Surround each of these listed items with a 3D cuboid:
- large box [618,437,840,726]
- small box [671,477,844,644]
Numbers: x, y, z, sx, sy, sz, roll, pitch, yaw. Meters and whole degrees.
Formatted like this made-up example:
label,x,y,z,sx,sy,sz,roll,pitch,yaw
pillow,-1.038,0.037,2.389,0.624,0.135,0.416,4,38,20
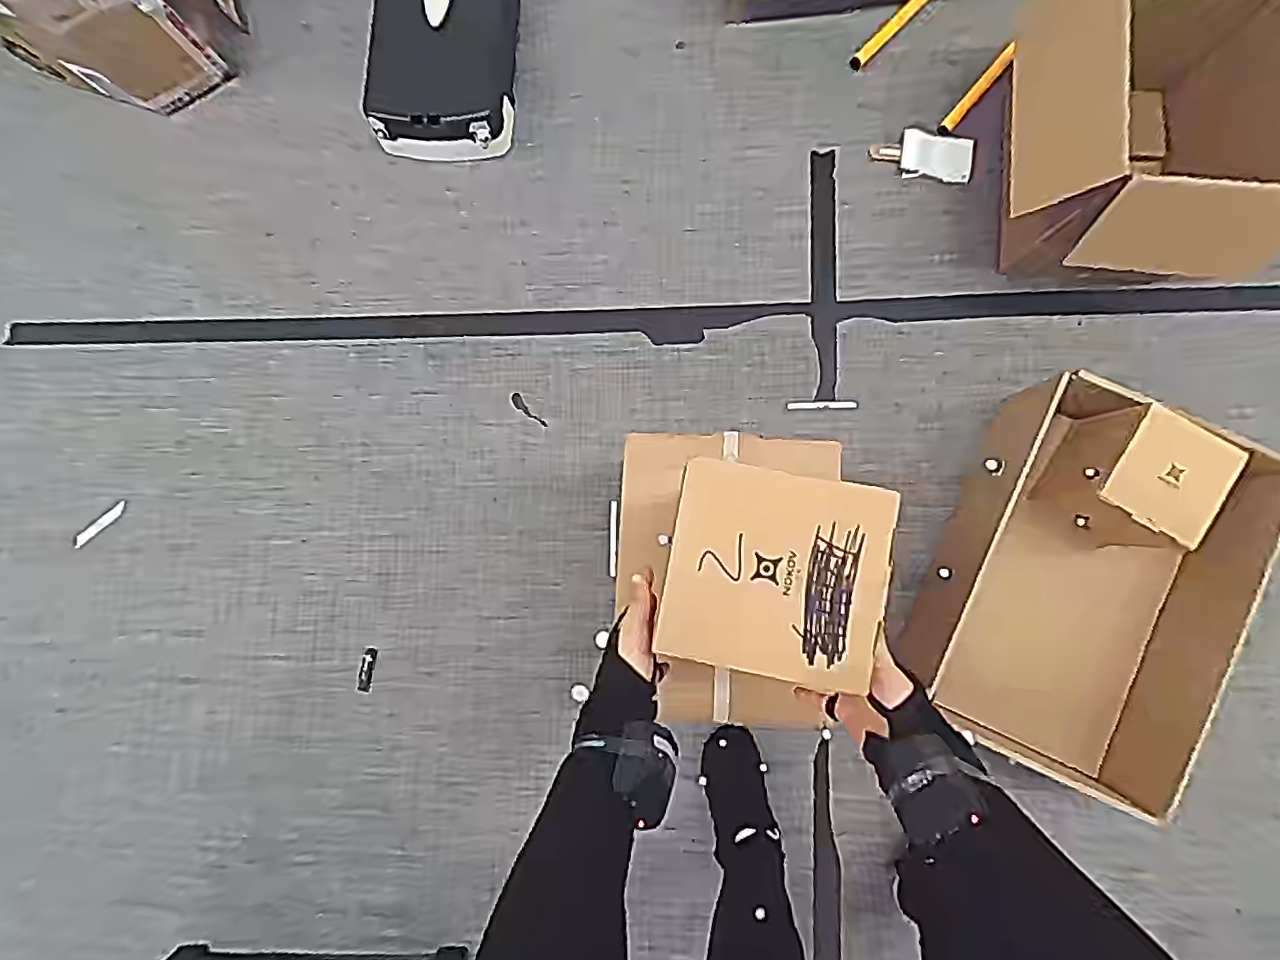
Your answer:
label,x,y,z,sx,sy,sz,roll,pitch,yaw
large box,0.135,0.146,0.914,0.320,0.320,0.408,2,86,5
small box,0.134,0.093,0.671,0.179,0.176,0.168,6,86,3
